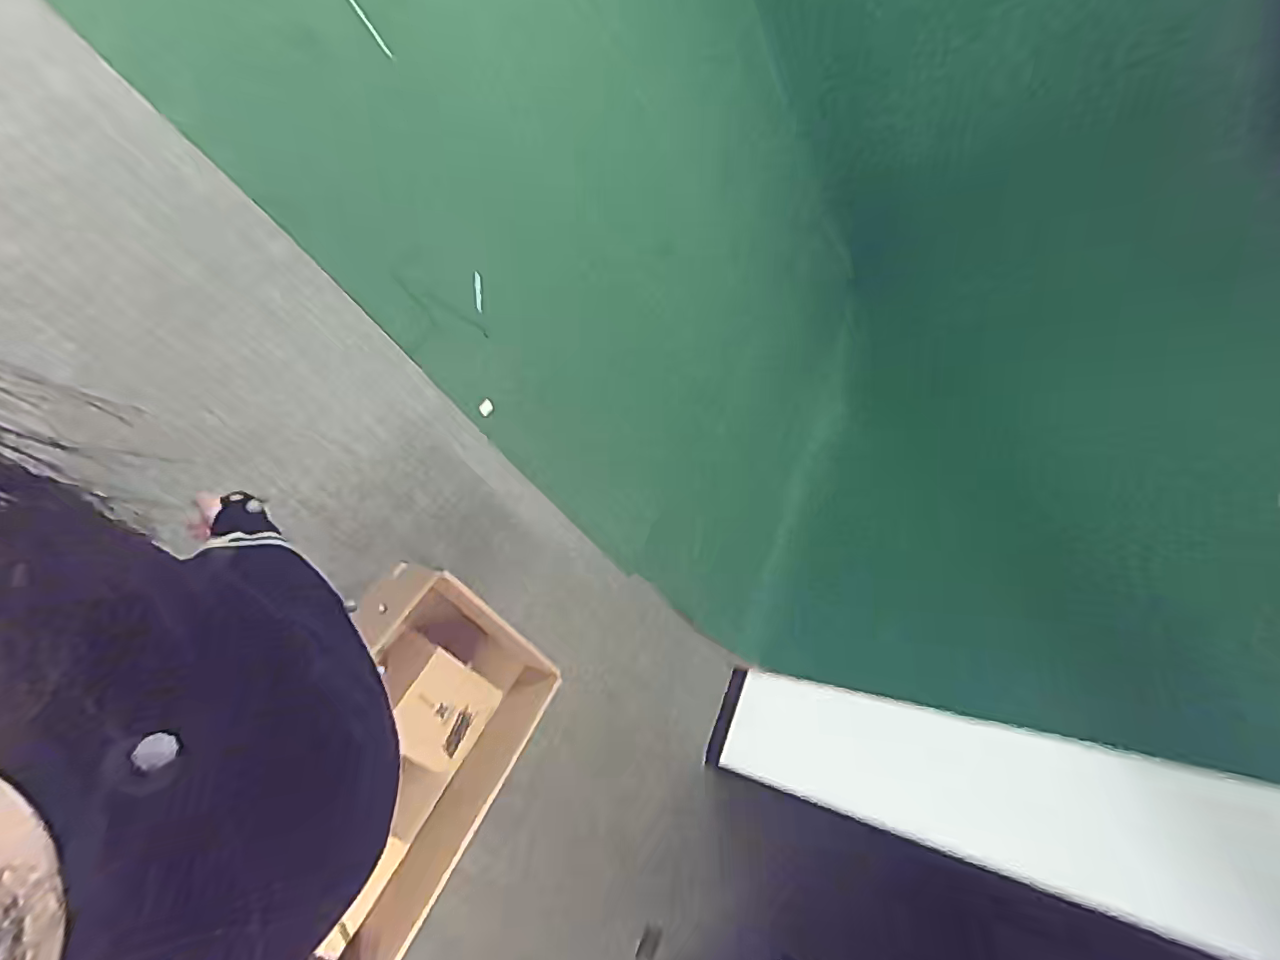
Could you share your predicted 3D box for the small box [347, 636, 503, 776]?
[{"bbox_3d":[-0.399,0.410,1.007,0.179,0.176,0.168,52,54,-30],"label":"small box"}]
